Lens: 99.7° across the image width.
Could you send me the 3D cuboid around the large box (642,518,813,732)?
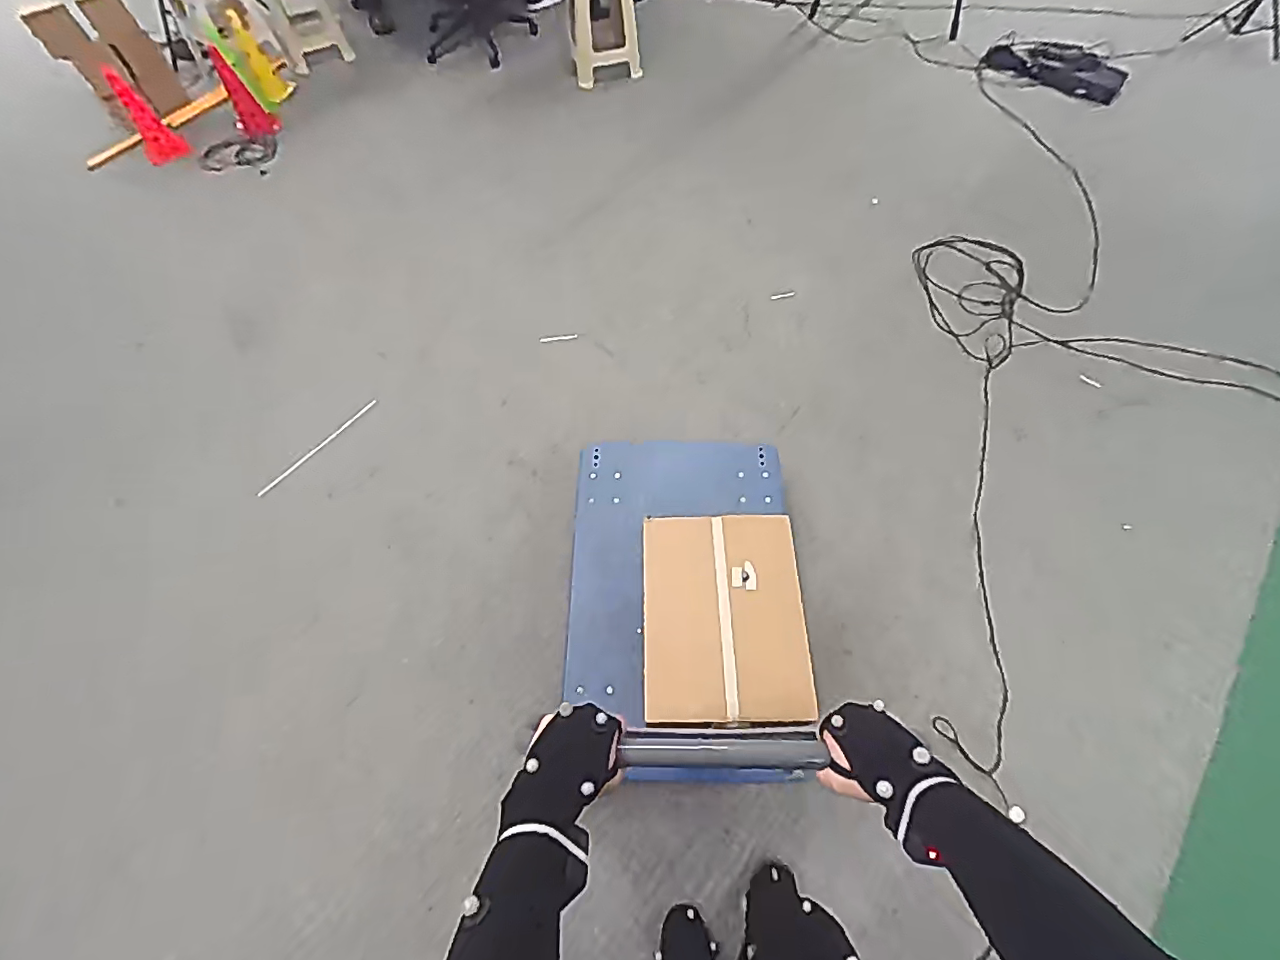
[{"bbox_3d":[0.167,0.332,1.212,0.320,0.320,0.408,-1,61,1],"label":"large box"}]
